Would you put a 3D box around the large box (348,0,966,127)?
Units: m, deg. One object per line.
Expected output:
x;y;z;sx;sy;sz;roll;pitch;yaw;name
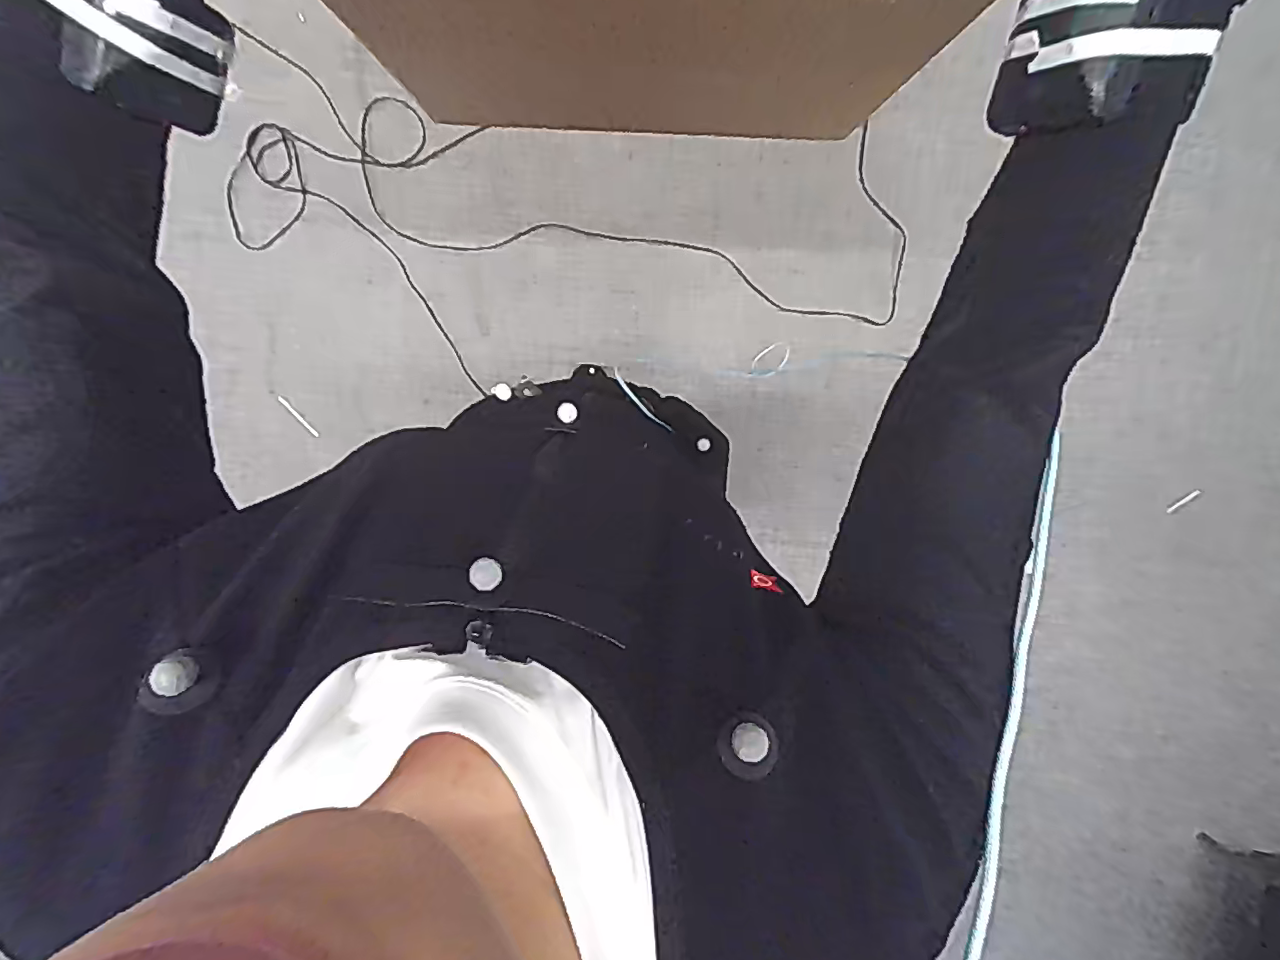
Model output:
0.008;-0.457;0.348;0.408;0.320;0.320;1;106;-2;large box
